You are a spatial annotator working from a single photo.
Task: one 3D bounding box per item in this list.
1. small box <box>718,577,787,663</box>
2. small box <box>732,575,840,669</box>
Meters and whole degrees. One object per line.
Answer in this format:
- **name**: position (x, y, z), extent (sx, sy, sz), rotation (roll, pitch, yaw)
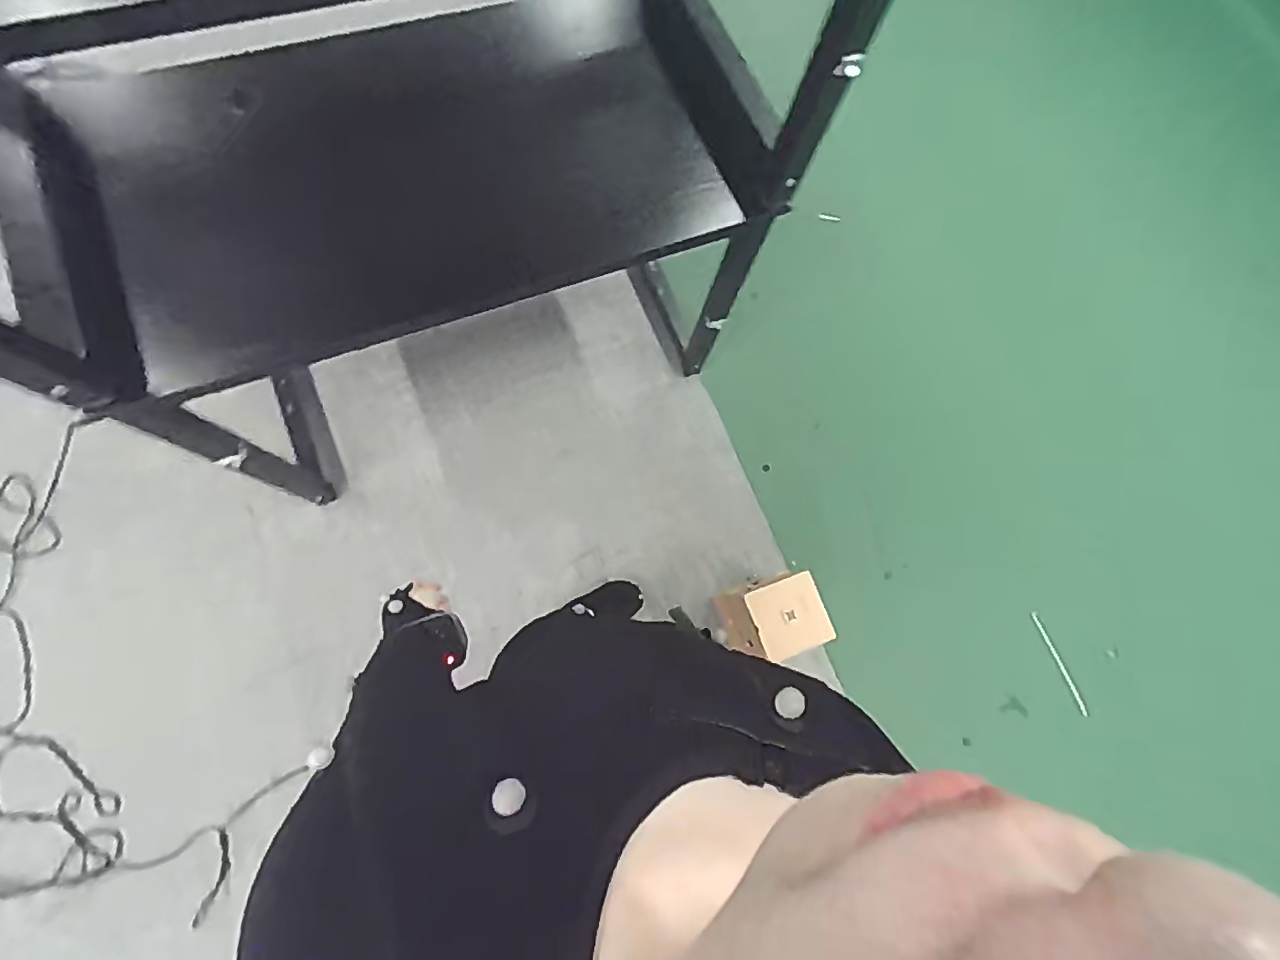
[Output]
- **small box**: position (0.325, 0.373, 1.447), extent (0.168, 0.176, 0.179), rotation (-18, 80, -10)
- **small box**: position (0.334, 0.336, 1.290), extent (0.179, 0.176, 0.168), rotation (-19, 80, -11)
